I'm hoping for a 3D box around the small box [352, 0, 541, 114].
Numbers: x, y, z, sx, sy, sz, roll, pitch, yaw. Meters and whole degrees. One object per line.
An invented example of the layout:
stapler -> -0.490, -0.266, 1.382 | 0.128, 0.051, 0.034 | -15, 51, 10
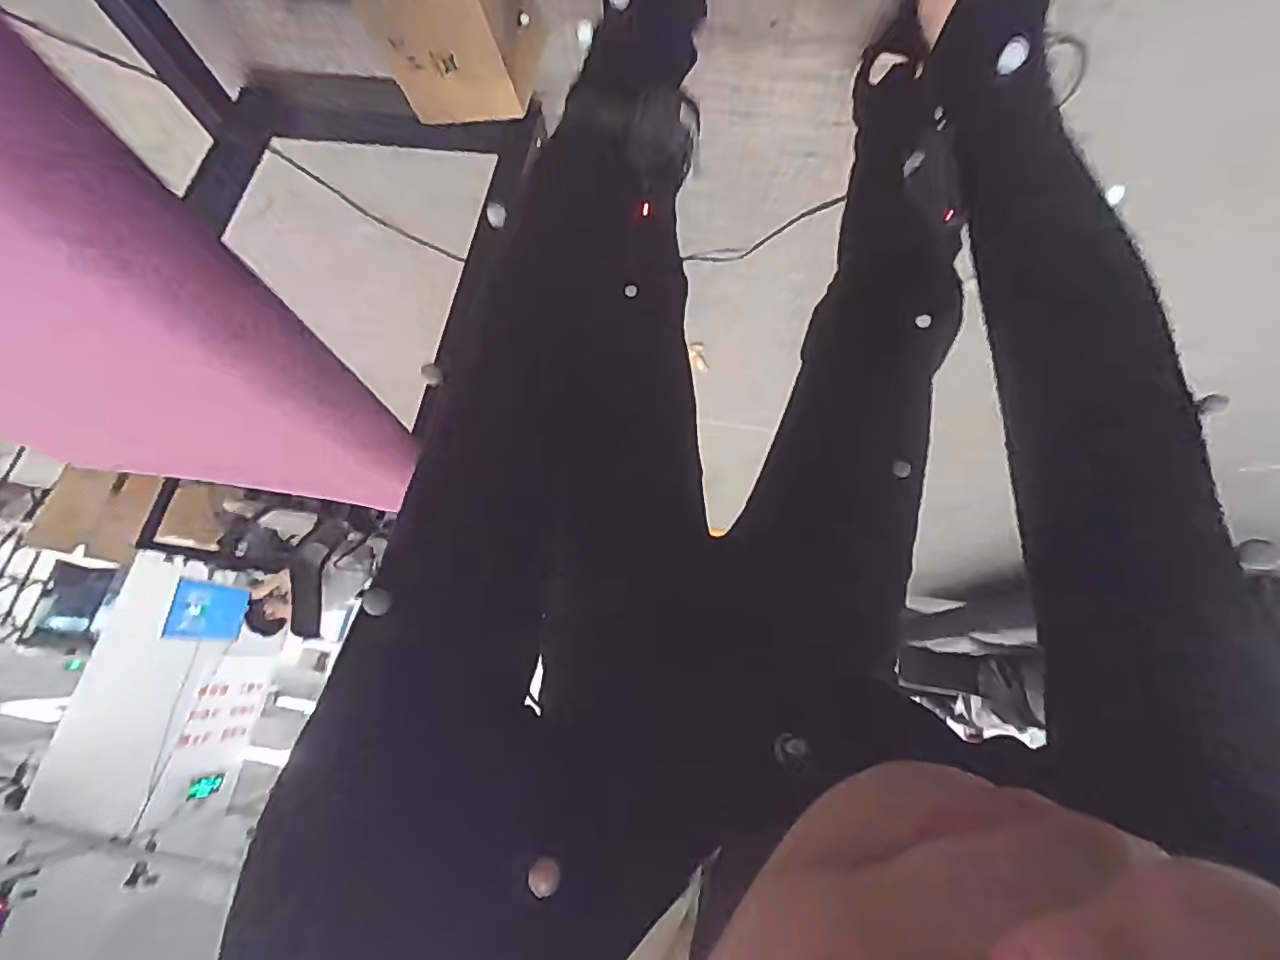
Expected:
small box -> -0.243, -0.633, 0.723 | 0.179, 0.176, 0.168 | 6, 162, 13
